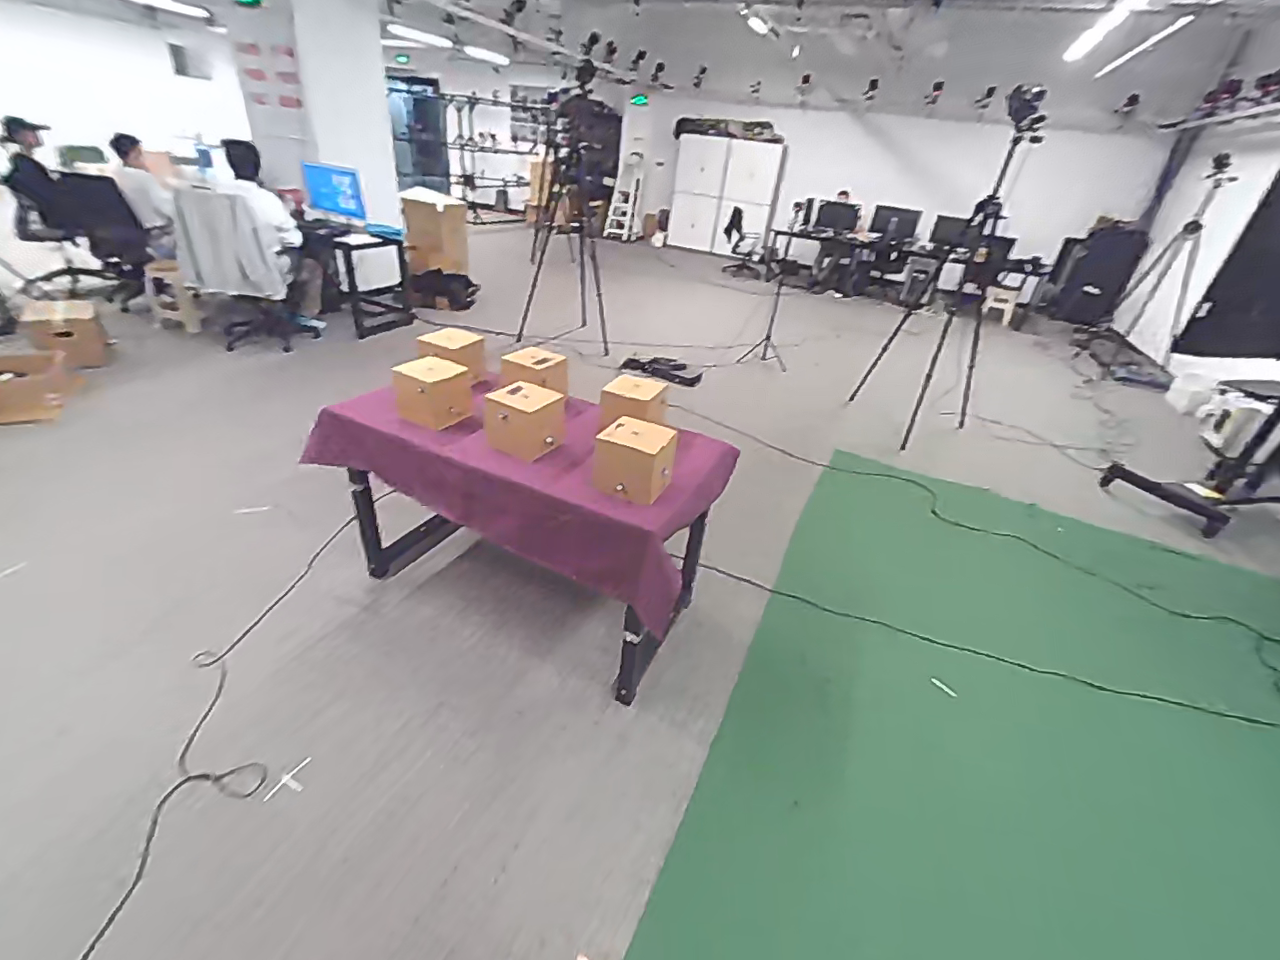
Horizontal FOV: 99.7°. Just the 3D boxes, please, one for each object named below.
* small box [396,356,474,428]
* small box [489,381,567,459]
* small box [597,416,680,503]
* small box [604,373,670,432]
[{"bbox_3d":[-0.665,-0.288,1.767,0.179,0.176,0.168,21,34,20],"label":"small box"},{"bbox_3d":[-0.344,-0.185,1.661,0.179,0.176,0.168,22,34,22],"label":"small box"},{"bbox_3d":[-0.006,-0.056,1.514,0.179,0.176,0.168,19,33,19],"label":"small box"},{"bbox_3d":[-0.013,-0.237,1.808,0.168,0.176,0.179,17,33,18],"label":"small box"}]
